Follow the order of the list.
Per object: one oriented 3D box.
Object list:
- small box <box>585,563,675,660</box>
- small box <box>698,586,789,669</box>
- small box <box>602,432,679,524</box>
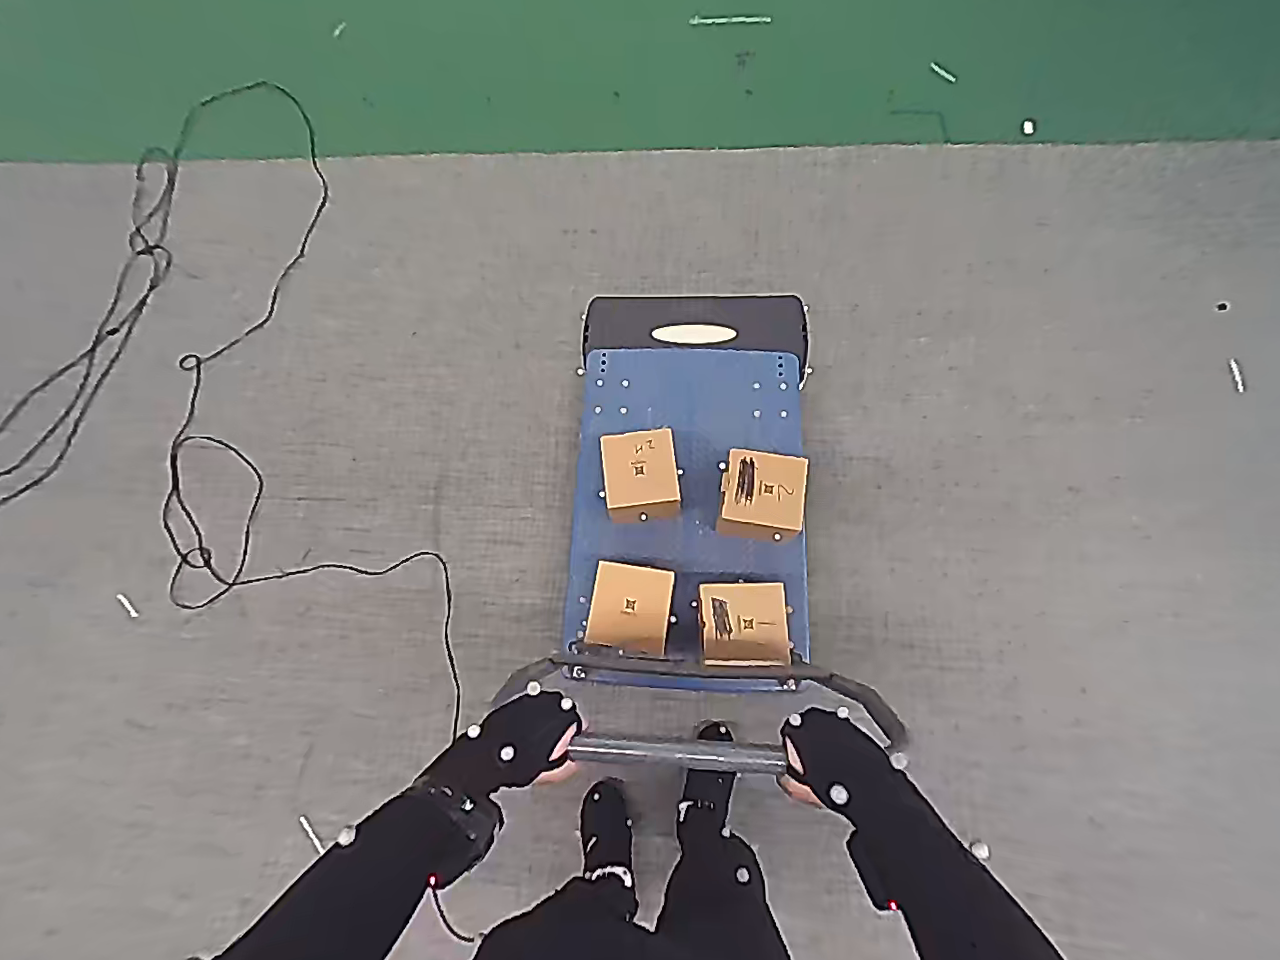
[{"bbox_3d":[-0.017,0.294,1.202,0.168,0.176,0.179,8,75,5],"label":"small box"},{"bbox_3d":[0.217,0.323,1.177,0.179,0.176,0.168,-1,73,3],"label":"small box"},{"bbox_3d":[0.004,0.002,1.289,0.168,0.176,0.179,-6,72,0],"label":"small box"}]
